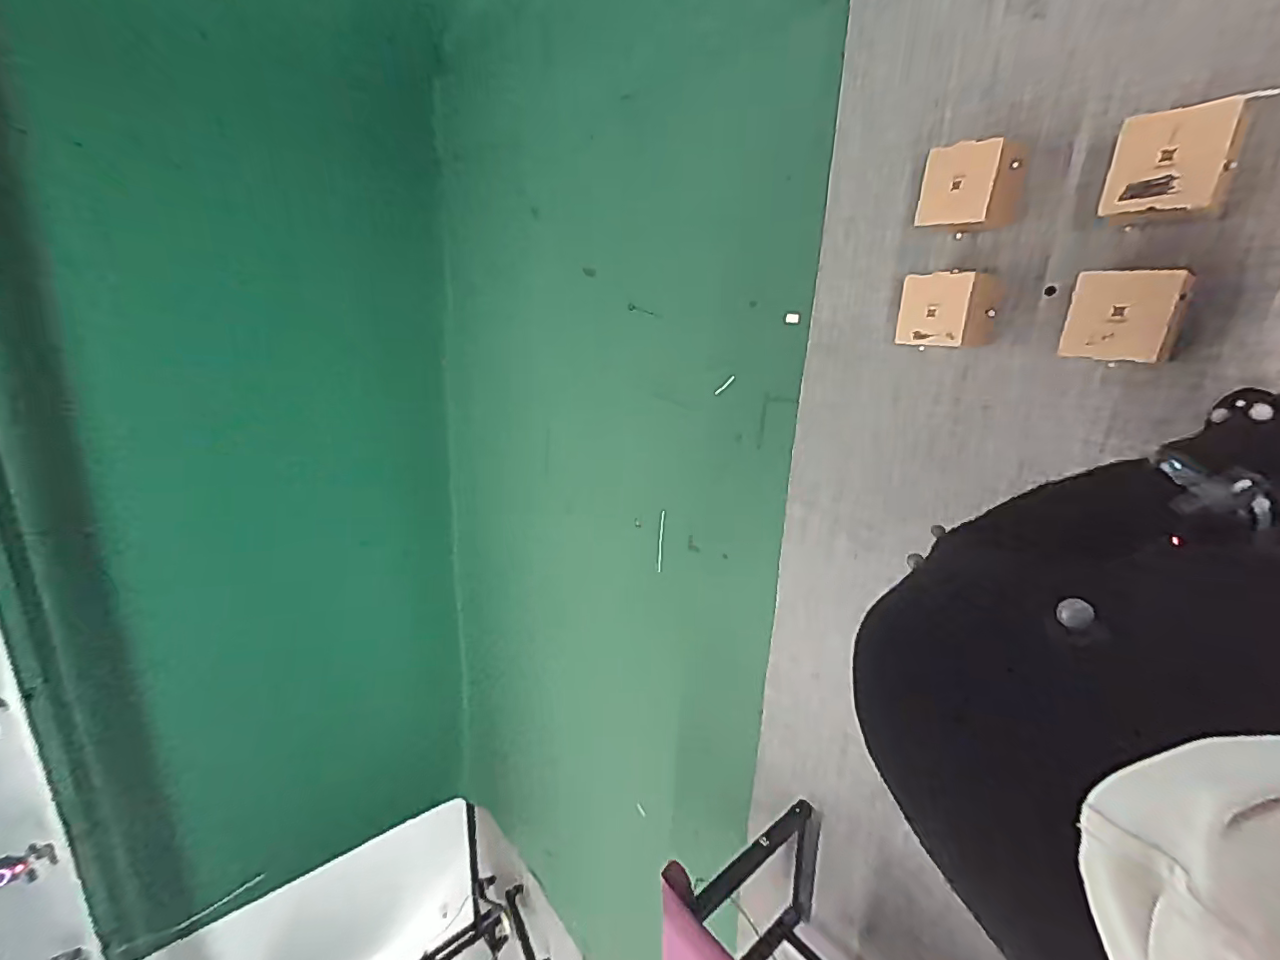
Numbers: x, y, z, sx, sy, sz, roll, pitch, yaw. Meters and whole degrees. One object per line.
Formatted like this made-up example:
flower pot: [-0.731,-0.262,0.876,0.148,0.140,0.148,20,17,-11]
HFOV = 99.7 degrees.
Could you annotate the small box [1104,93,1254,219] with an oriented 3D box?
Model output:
small box: [1.062,-0.622,1.066,0.168,0.176,0.179,23,115,46]

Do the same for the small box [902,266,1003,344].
small box: [0.816,-0.452,1.408,0.168,0.176,0.179,21,113,48]

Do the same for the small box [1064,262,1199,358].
small box: [1.044,-0.358,1.147,0.168,0.176,0.179,23,115,47]
